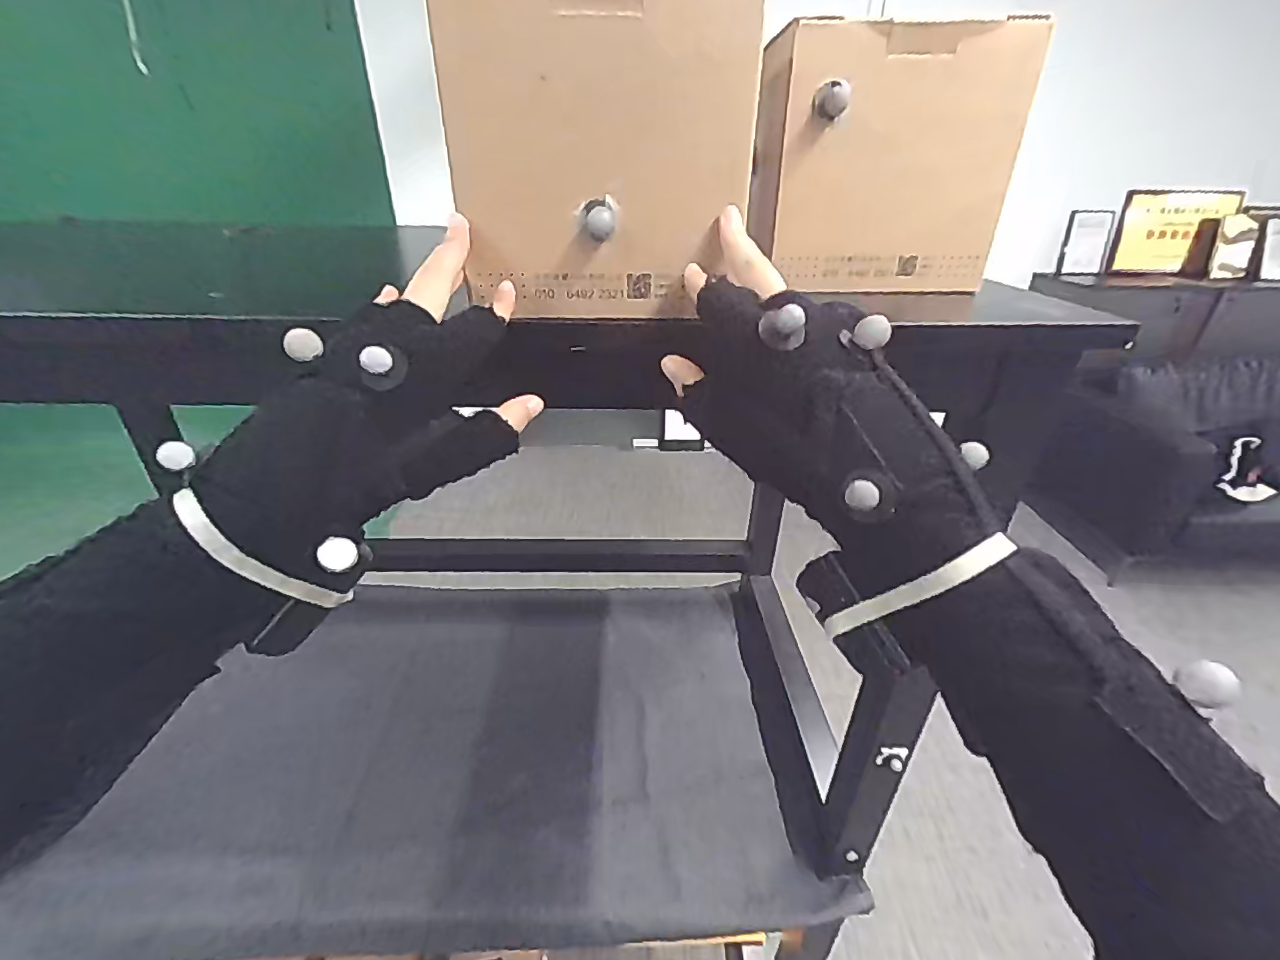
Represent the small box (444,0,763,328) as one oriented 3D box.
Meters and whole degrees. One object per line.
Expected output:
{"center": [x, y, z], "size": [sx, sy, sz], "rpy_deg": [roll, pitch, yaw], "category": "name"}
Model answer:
{"center": [-0.021, -0.213, 0.380], "size": [0.168, 0.176, 0.179], "rpy_deg": [0, 29, -1], "category": "small box"}
